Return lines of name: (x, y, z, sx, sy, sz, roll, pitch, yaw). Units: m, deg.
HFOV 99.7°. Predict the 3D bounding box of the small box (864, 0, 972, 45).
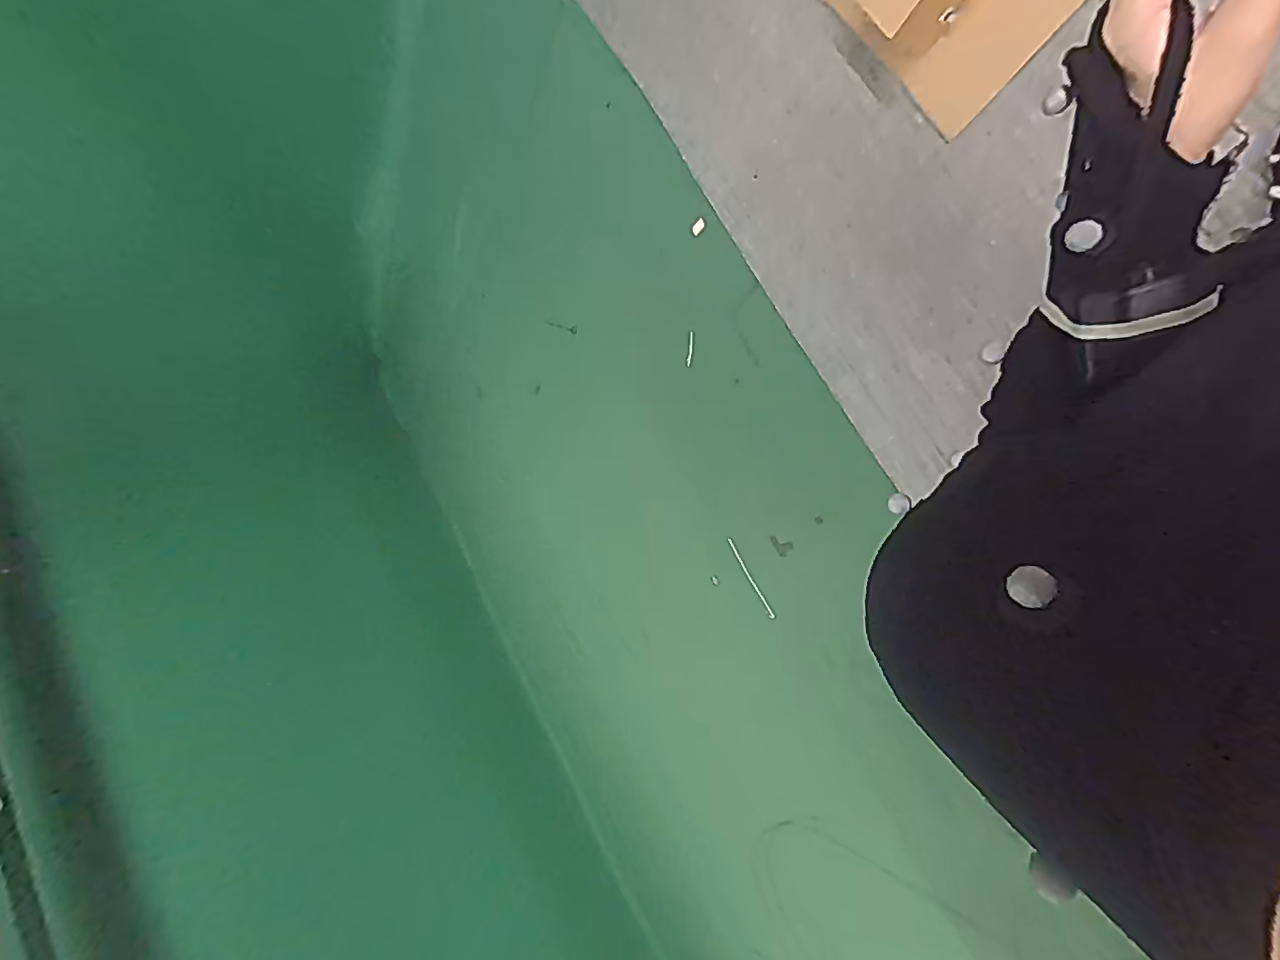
small box: (0.525, -0.958, 1.007, 0.179, 0.176, 0.168, 58, 142, 11)
